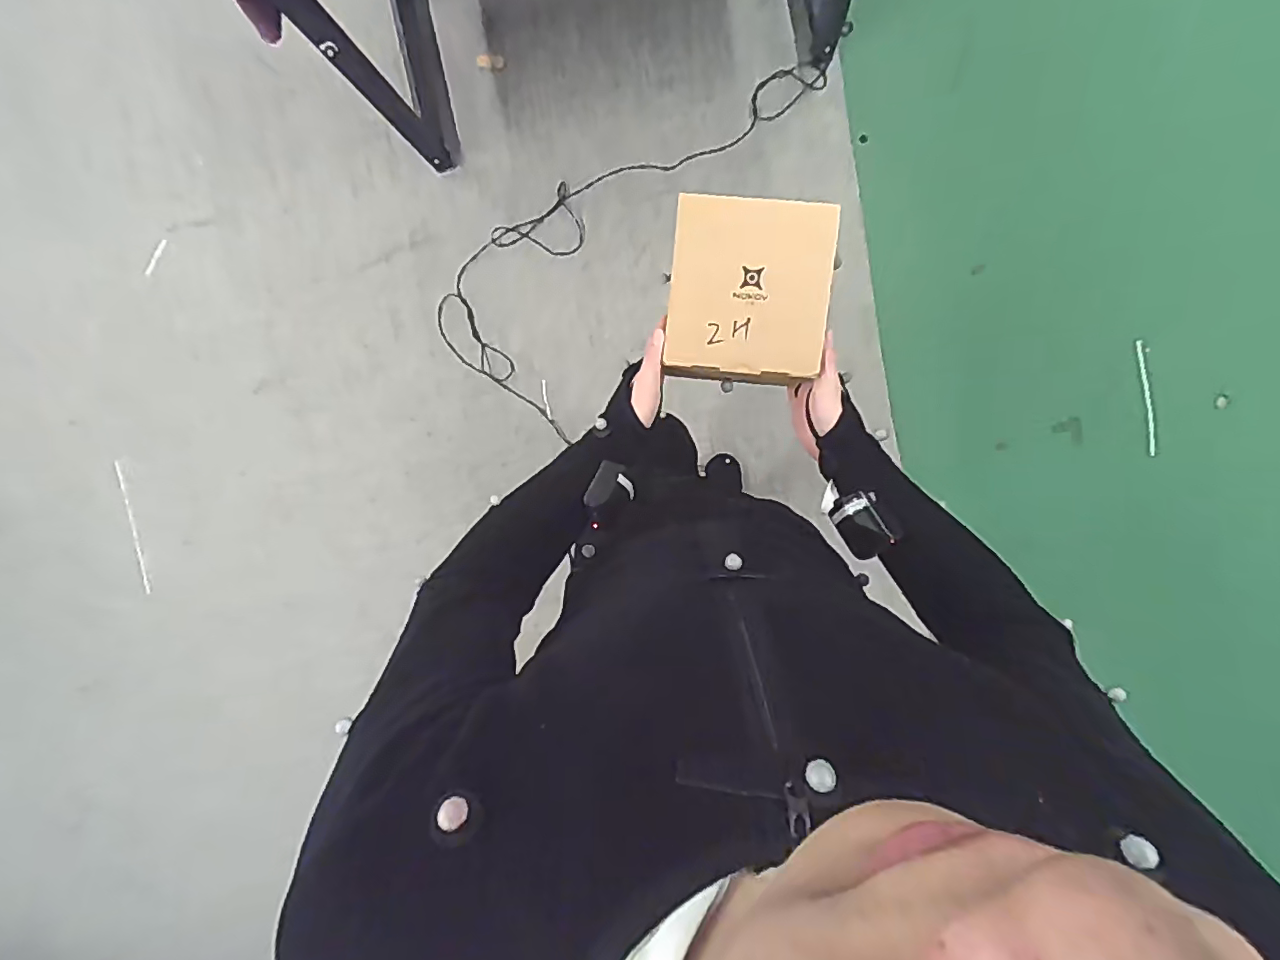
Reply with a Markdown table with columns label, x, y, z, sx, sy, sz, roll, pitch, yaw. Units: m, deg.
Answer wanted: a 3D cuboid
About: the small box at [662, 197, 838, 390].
| label | x | y | z | sx | sy | sz | roll | pitch | yaw |
| --- | --- | --- | --- | --- | --- | --- | --- | --- | --- |
| small box | 0.116 | -0.205 | 0.641 | 0.168 | 0.176 | 0.179 | 6 | 98 | 2 |
